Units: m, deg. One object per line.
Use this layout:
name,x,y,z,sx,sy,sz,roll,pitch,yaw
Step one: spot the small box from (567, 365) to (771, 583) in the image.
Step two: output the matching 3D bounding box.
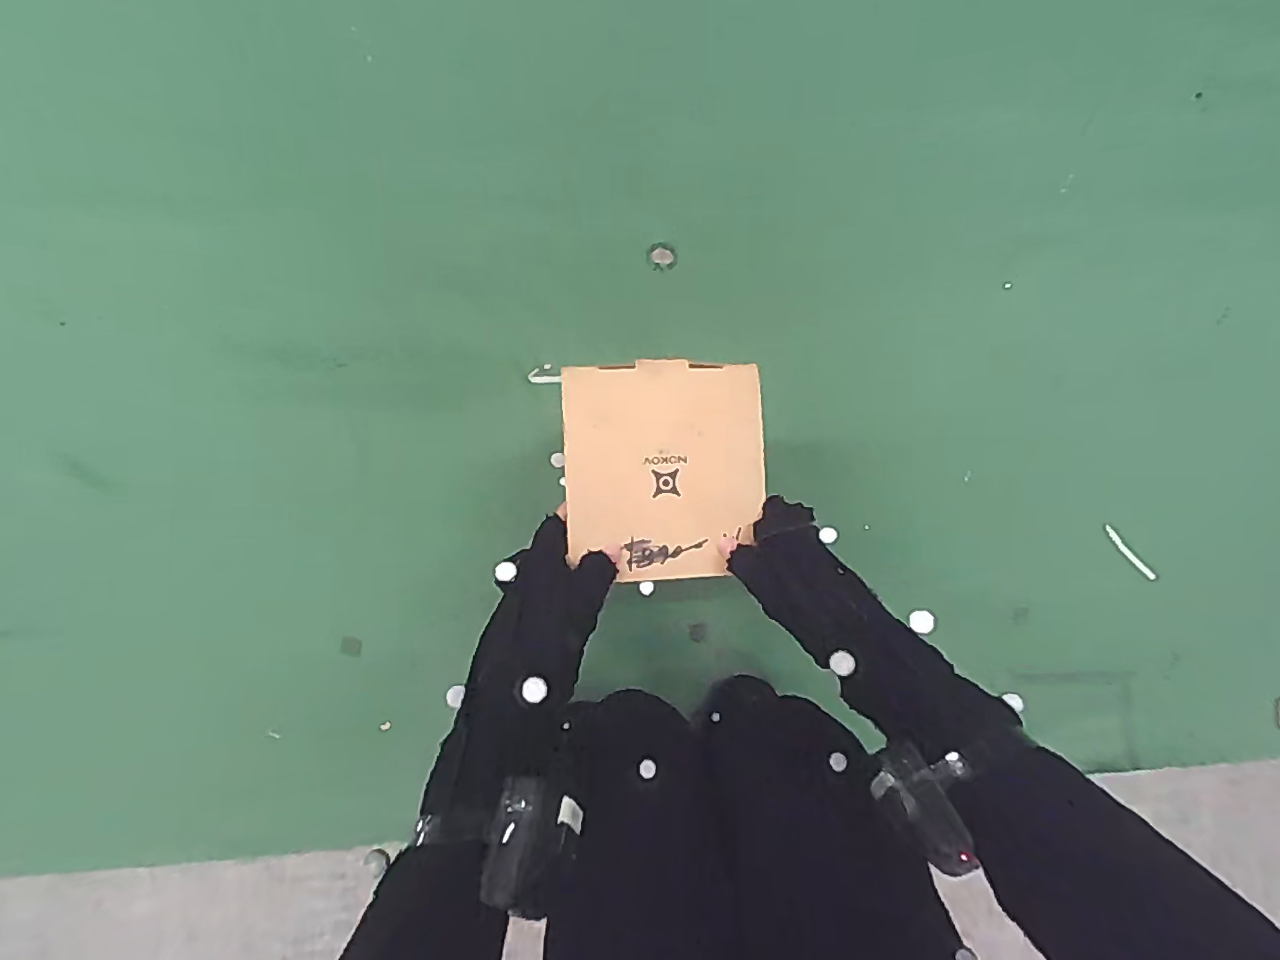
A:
small box,0.014,-0.003,0.517,0.168,0.176,0.179,-2,88,-7
